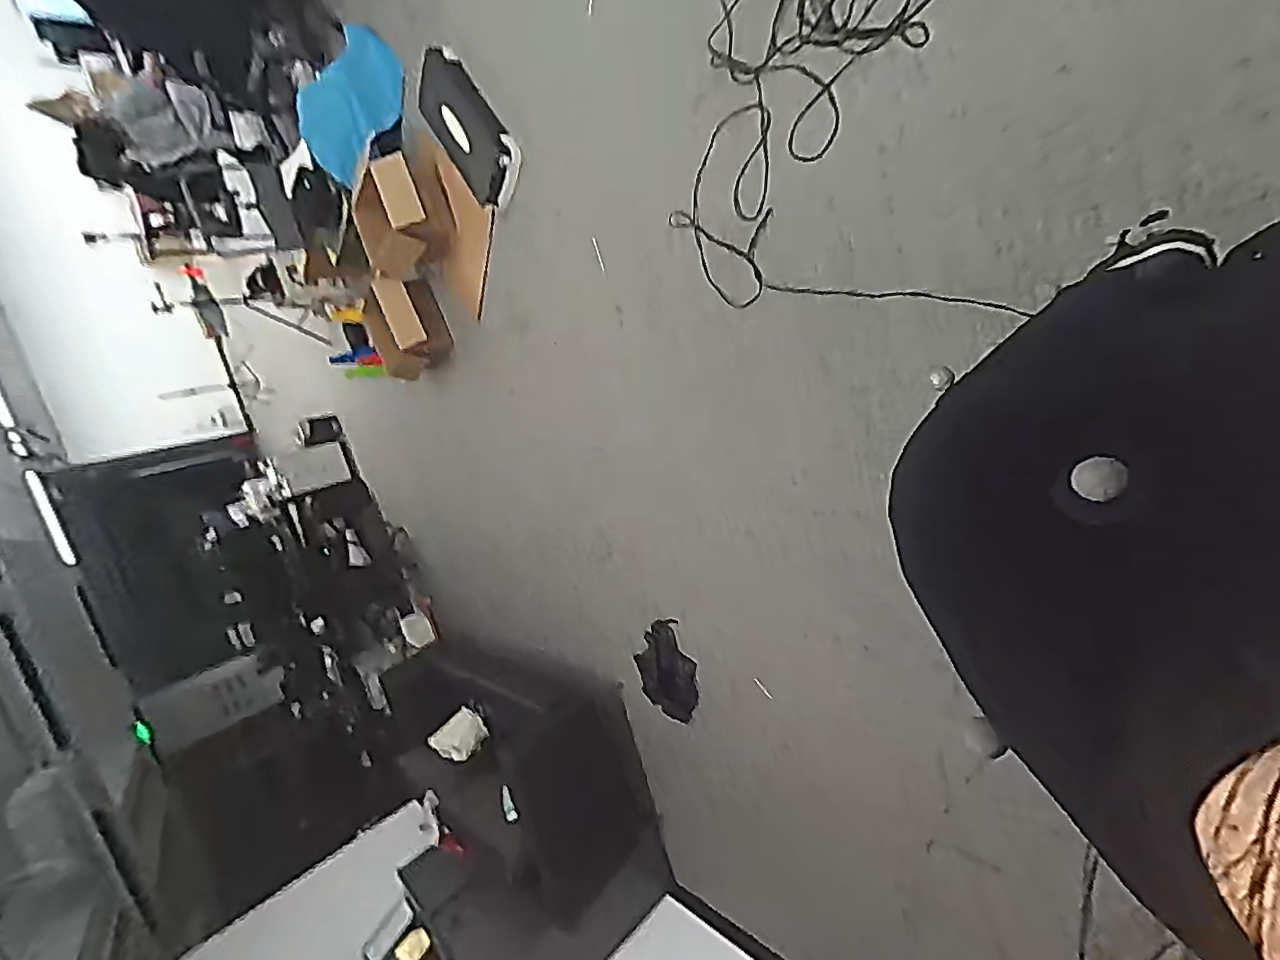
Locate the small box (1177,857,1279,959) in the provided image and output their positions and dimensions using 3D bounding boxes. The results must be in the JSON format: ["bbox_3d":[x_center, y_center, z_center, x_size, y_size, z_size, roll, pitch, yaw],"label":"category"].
[{"bbox_3d":[0.704,0.562,0.578,0.168,0.176,0.179,-6,104,51],"label":"small box"}]
